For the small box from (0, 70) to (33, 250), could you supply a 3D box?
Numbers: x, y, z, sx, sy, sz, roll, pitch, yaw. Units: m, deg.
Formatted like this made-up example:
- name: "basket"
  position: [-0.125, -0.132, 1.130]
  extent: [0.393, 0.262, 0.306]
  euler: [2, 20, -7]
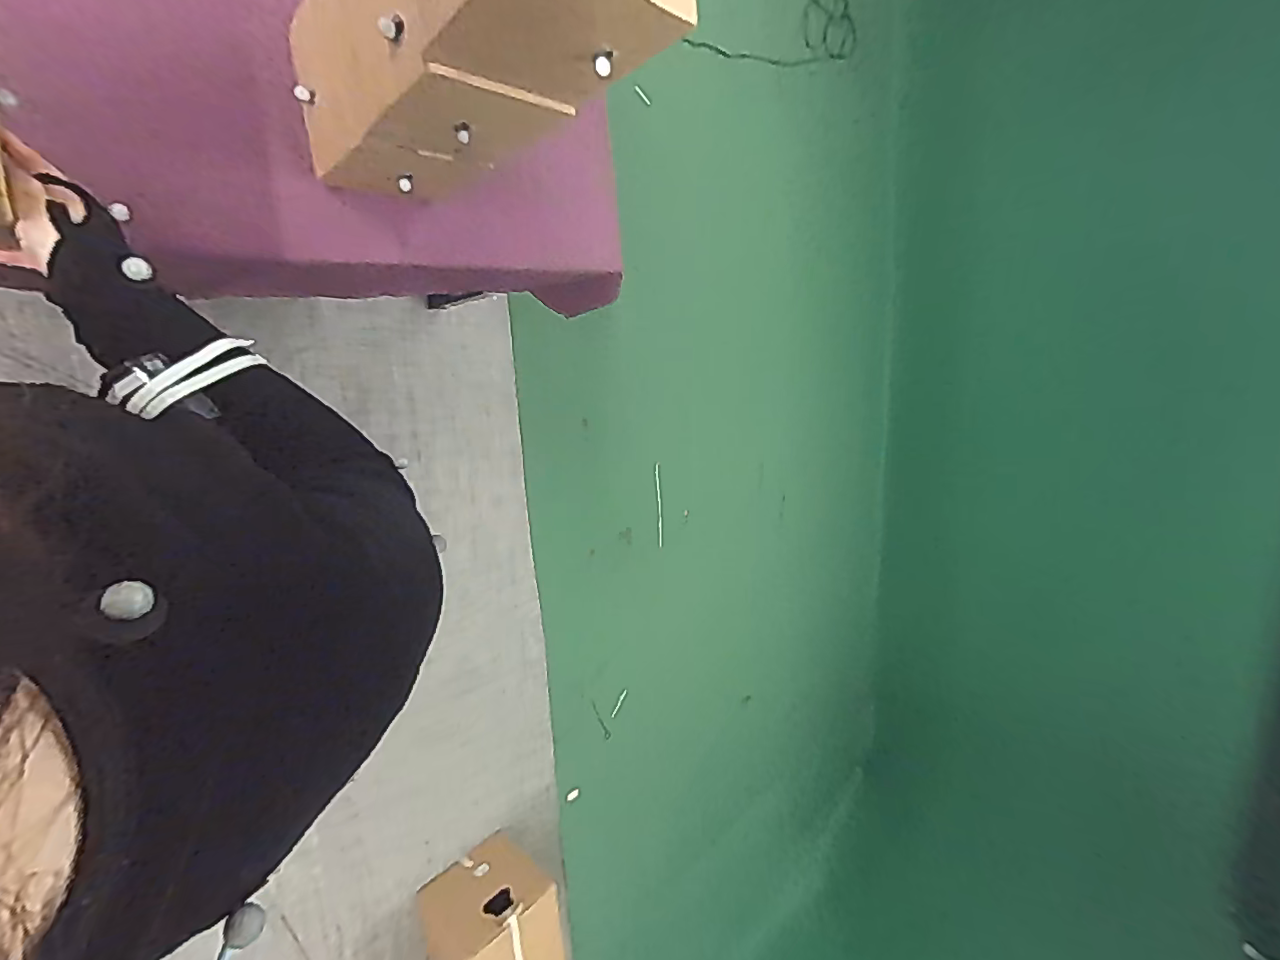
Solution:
- name: "small box"
  position: [-0.479, -0.242, 0.299]
  extent: [0.168, 0.176, 0.179]
  euler: [-13, 107, -43]

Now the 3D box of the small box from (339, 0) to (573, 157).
- name: "small box"
  position: [-0.192, -0.462, 0.560]
  extent: [0.168, 0.176, 0.179]
  euler: [-18, 108, -44]

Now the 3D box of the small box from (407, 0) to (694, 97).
- name: "small box"
  position: [-0.078, -0.450, 0.443]
  extent: [0.179, 0.176, 0.168]
  euler: [-18, 107, -42]

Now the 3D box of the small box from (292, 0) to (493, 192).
- name: "small box"
  position: [-0.308, -0.480, 0.676]
  extent: [0.168, 0.176, 0.179]
  euler: [-18, 109, -44]

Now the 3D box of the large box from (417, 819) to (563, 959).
- name: "large box"
  position: [-0.482, 1.430, 1.753]
  extent: [0.320, 0.320, 0.408]
  euler: [-17, 110, -44]
